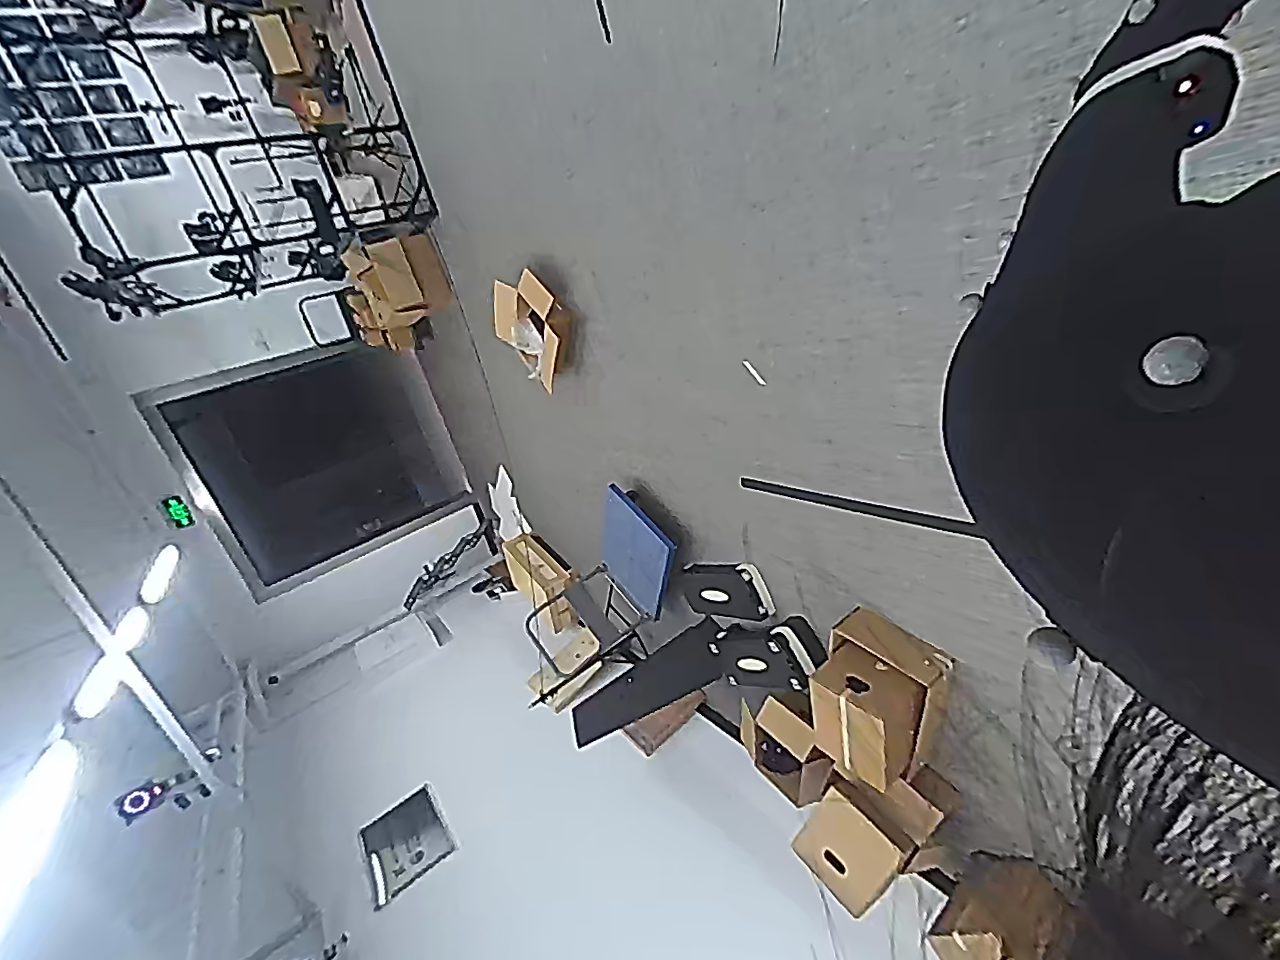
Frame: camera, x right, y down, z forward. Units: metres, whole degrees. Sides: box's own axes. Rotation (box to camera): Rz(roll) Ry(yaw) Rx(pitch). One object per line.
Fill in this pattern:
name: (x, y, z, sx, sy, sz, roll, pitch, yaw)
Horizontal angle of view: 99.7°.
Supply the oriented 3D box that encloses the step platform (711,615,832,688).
step platform: (0.638, 0.887, 2.765, 0.286, 0.204, 0.684, 60, 151, 4)
